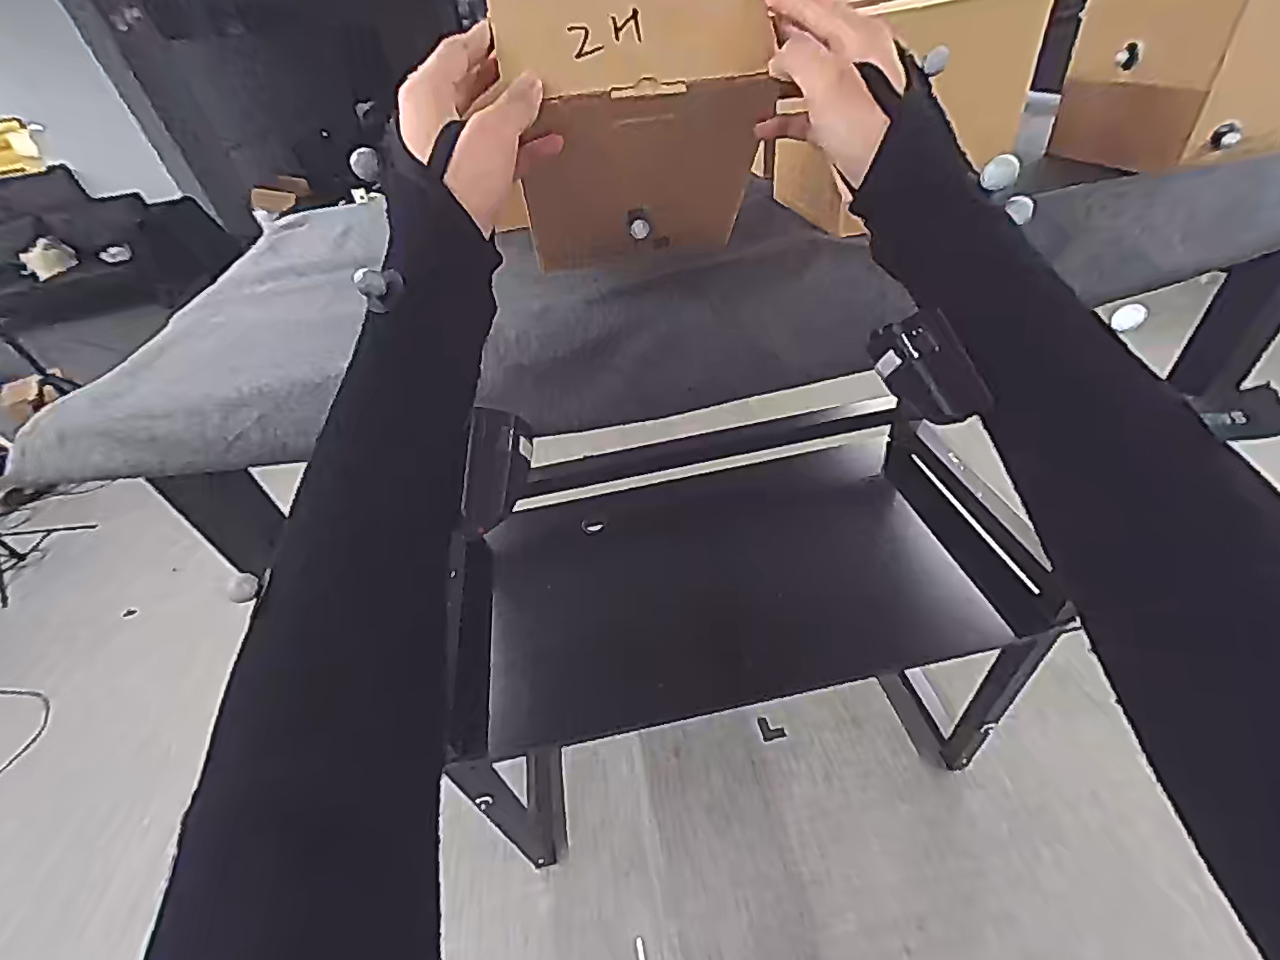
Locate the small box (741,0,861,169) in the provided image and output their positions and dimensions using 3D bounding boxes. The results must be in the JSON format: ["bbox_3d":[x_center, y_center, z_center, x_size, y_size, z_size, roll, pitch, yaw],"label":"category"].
[{"bbox_3d":[0.210,-0.533,0.727,0.168,0.176,0.179,-12,41,-3],"label":"small box"}]

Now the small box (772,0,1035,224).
[{"bbox_3d":[0.239,-0.368,0.536,0.168,0.176,0.179,-12,39,-3],"label":"small box"}]

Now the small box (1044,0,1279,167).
[{"bbox_3d":[0.551,-0.419,0.527,0.168,0.176,0.179,-11,38,0],"label":"small box"}]

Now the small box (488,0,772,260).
[{"bbox_3d":[-0.020,-0.301,0.412,0.168,0.176,0.179,-10,78,-5],"label":"small box"}]
